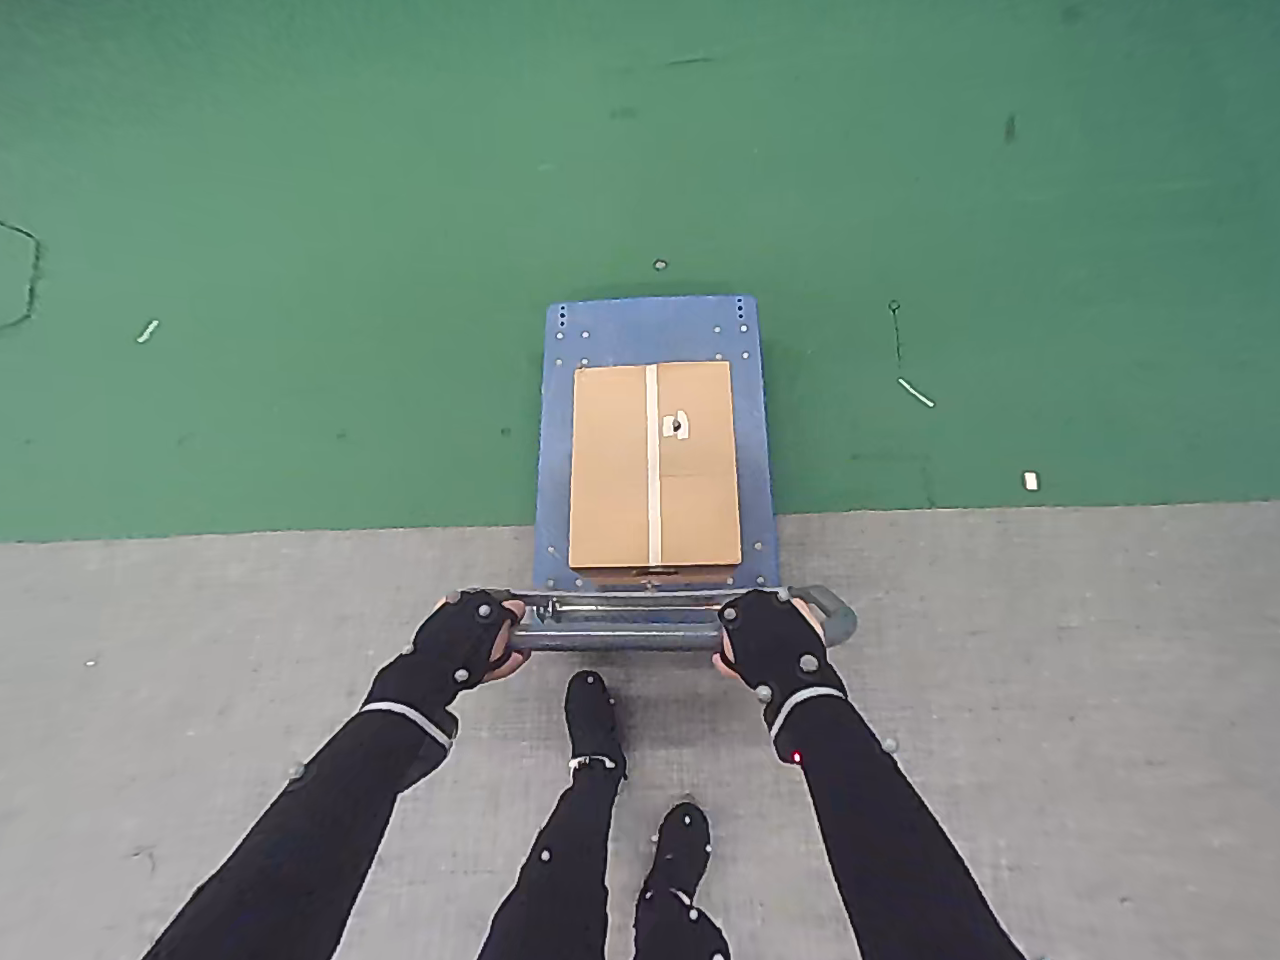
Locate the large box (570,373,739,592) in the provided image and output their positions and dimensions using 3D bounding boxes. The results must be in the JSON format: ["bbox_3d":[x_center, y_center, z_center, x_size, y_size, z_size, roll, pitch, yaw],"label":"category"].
[{"bbox_3d":[0.034,0.023,1.182,0.320,0.320,0.408,-1,72,4],"label":"large box"}]
